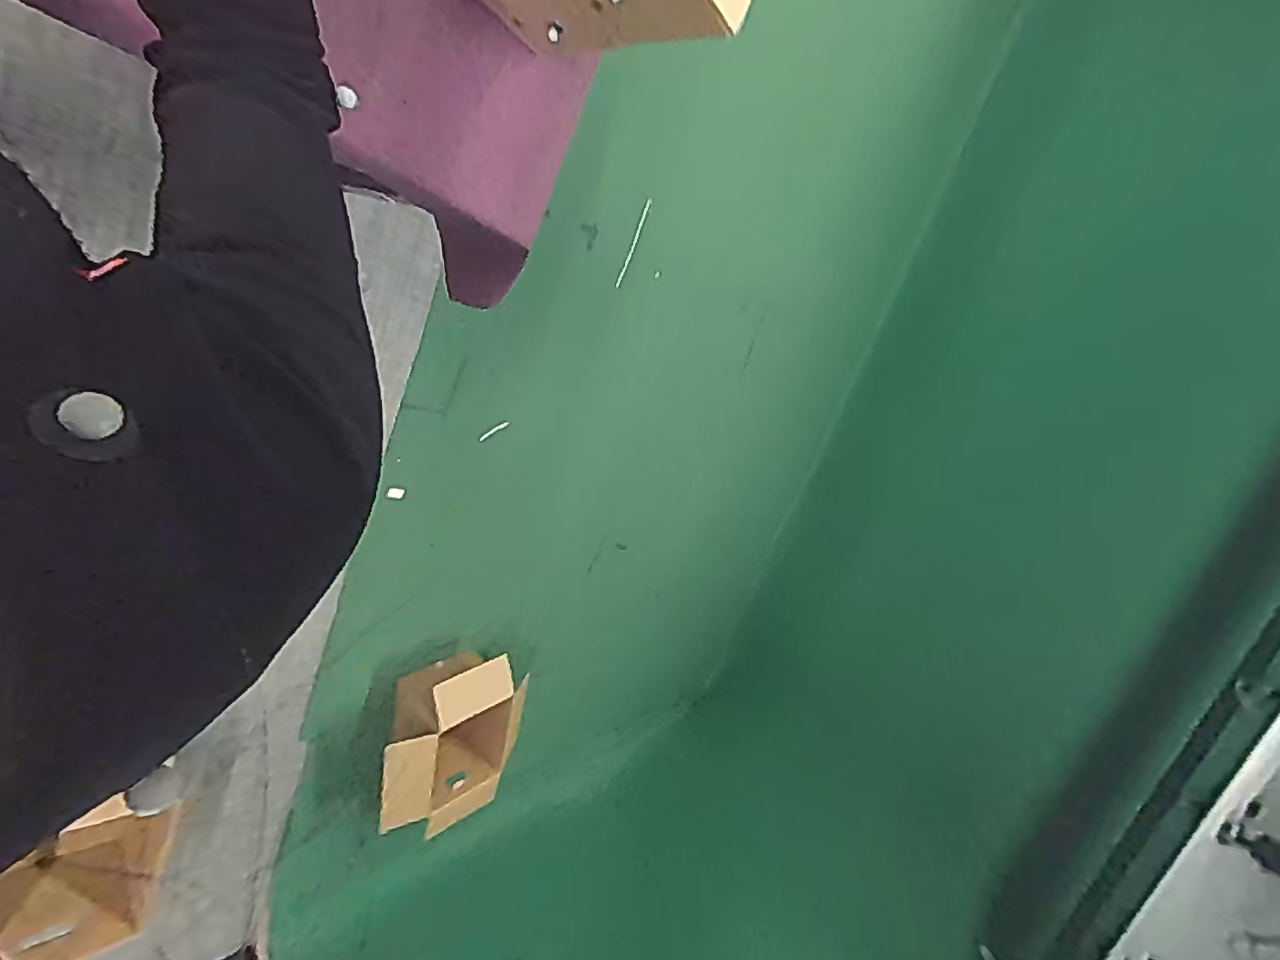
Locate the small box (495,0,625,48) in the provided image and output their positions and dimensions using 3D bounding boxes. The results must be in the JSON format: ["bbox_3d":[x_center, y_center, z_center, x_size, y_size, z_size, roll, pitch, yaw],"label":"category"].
[{"bbox_3d":[-0.093,-0.629,0.607,0.168,0.176,0.179,11,106,-54],"label":"small box"}]

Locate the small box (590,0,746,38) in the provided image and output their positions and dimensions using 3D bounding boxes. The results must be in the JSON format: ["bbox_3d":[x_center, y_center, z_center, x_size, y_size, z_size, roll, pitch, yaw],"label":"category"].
[{"bbox_3d":[0.019,-0.561,0.508,0.168,0.176,0.179,10,107,-54],"label":"small box"}]
